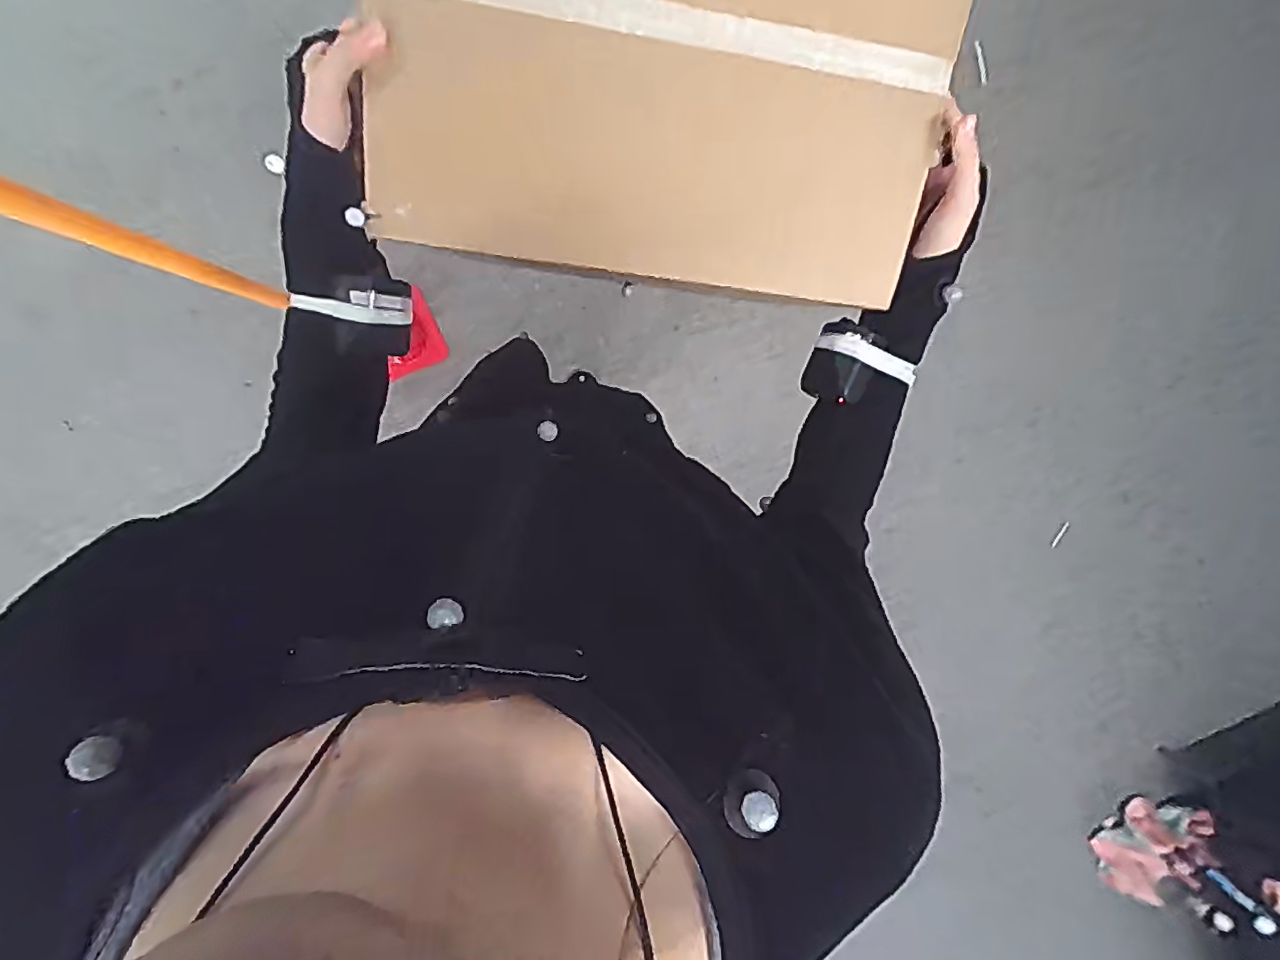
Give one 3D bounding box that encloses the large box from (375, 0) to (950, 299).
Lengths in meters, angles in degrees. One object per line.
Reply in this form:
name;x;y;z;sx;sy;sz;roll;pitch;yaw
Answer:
large box;0.008;-0.363;0.521;0.408;0.320;0.320;5;109;-7
